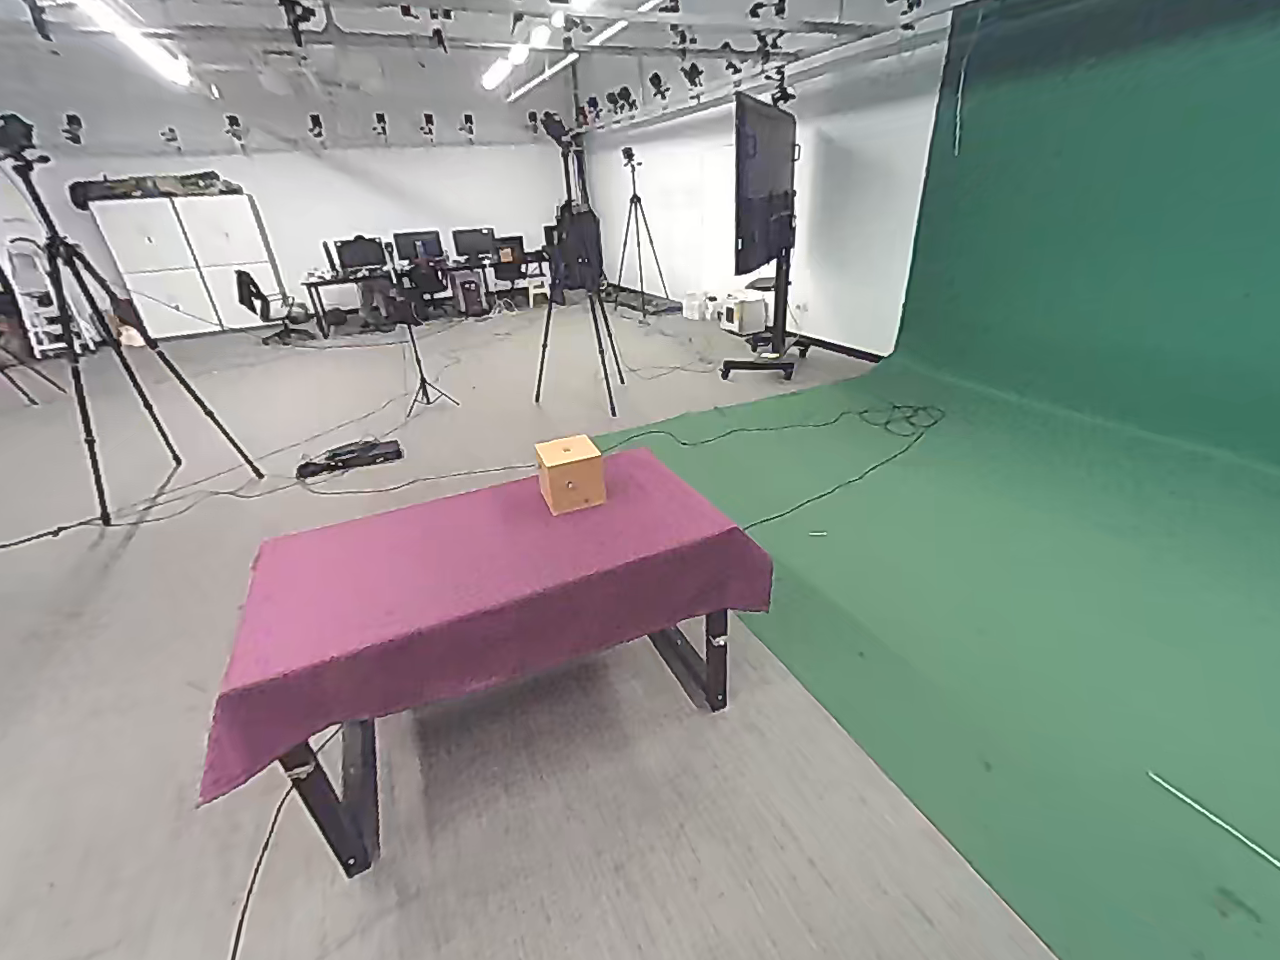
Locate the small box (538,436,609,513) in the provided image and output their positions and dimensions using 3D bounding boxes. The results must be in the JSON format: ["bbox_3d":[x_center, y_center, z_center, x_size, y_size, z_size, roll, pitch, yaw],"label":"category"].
[{"bbox_3d":[-0.201,-0.012,1.645,0.168,0.176,0.179,-14,29,-17],"label":"small box"}]
